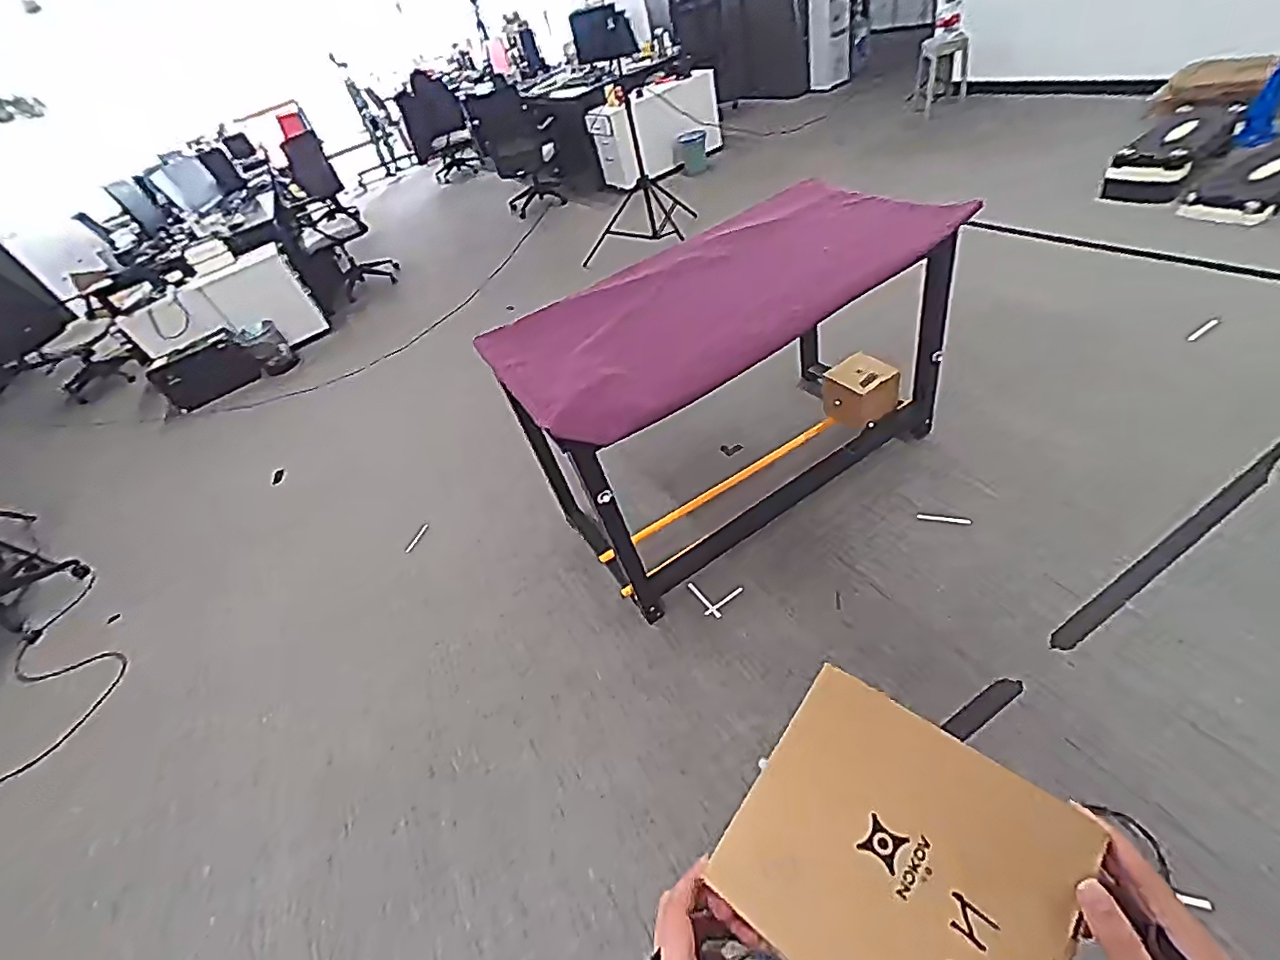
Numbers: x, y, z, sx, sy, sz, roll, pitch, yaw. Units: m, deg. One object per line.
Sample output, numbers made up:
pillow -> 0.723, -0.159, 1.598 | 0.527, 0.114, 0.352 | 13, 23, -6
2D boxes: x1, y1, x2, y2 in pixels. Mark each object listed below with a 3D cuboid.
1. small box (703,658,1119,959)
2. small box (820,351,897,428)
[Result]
small box -> 0.170, 0.264, 0.378 | 0.179, 0.176, 0.168 | 28, 67, 32
small box -> 0.722, -0.295, 1.794 | 0.168, 0.176, 0.179 | -32, 43, -12
